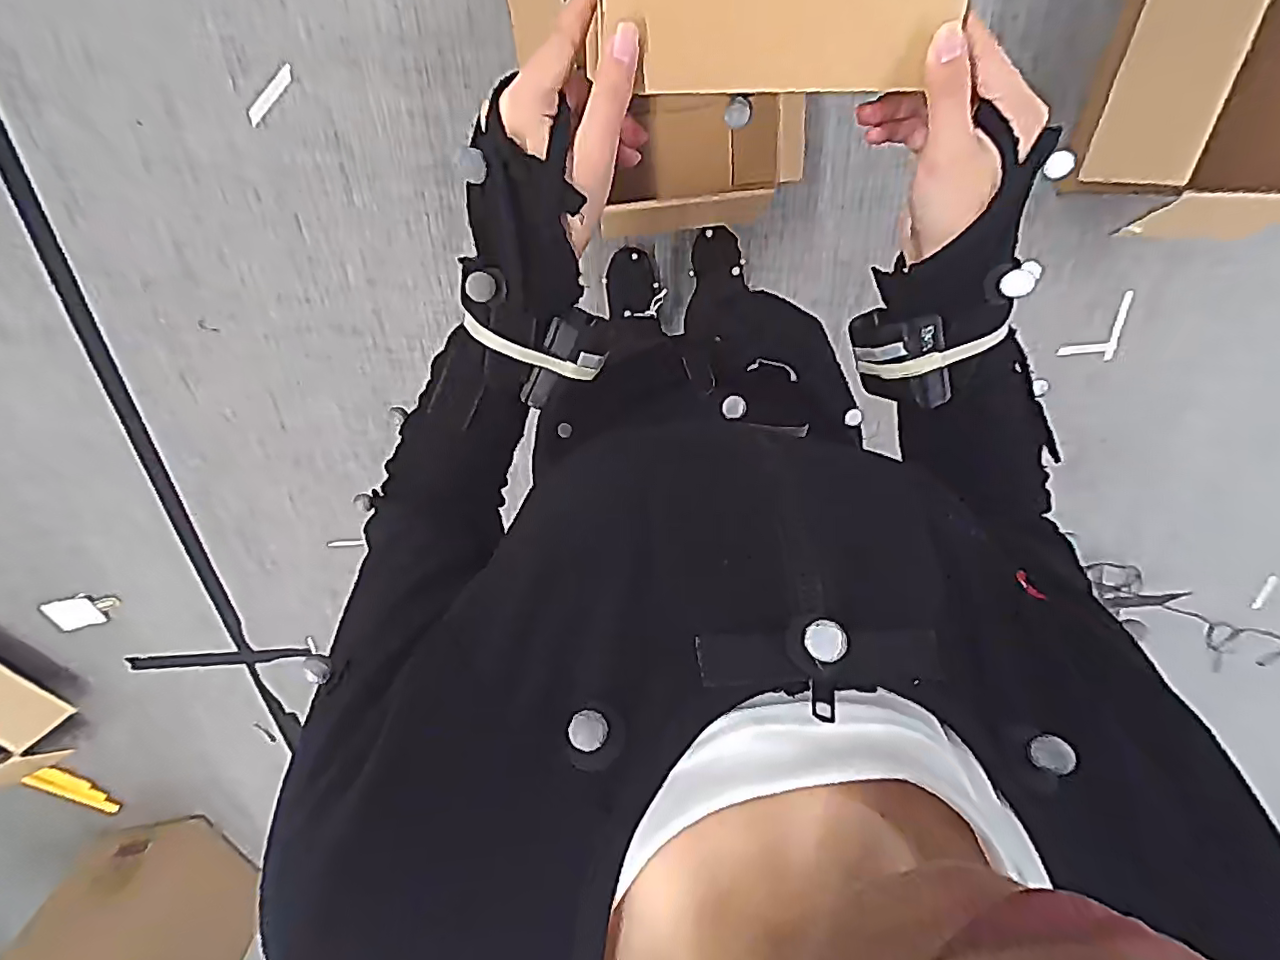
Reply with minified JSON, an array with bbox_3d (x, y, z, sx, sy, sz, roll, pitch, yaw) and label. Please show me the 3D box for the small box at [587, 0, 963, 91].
[{"bbox_3d":[0.059,-0.308,0.281,0.179,0.176,0.168,-3,128,-3],"label":"small box"}]
